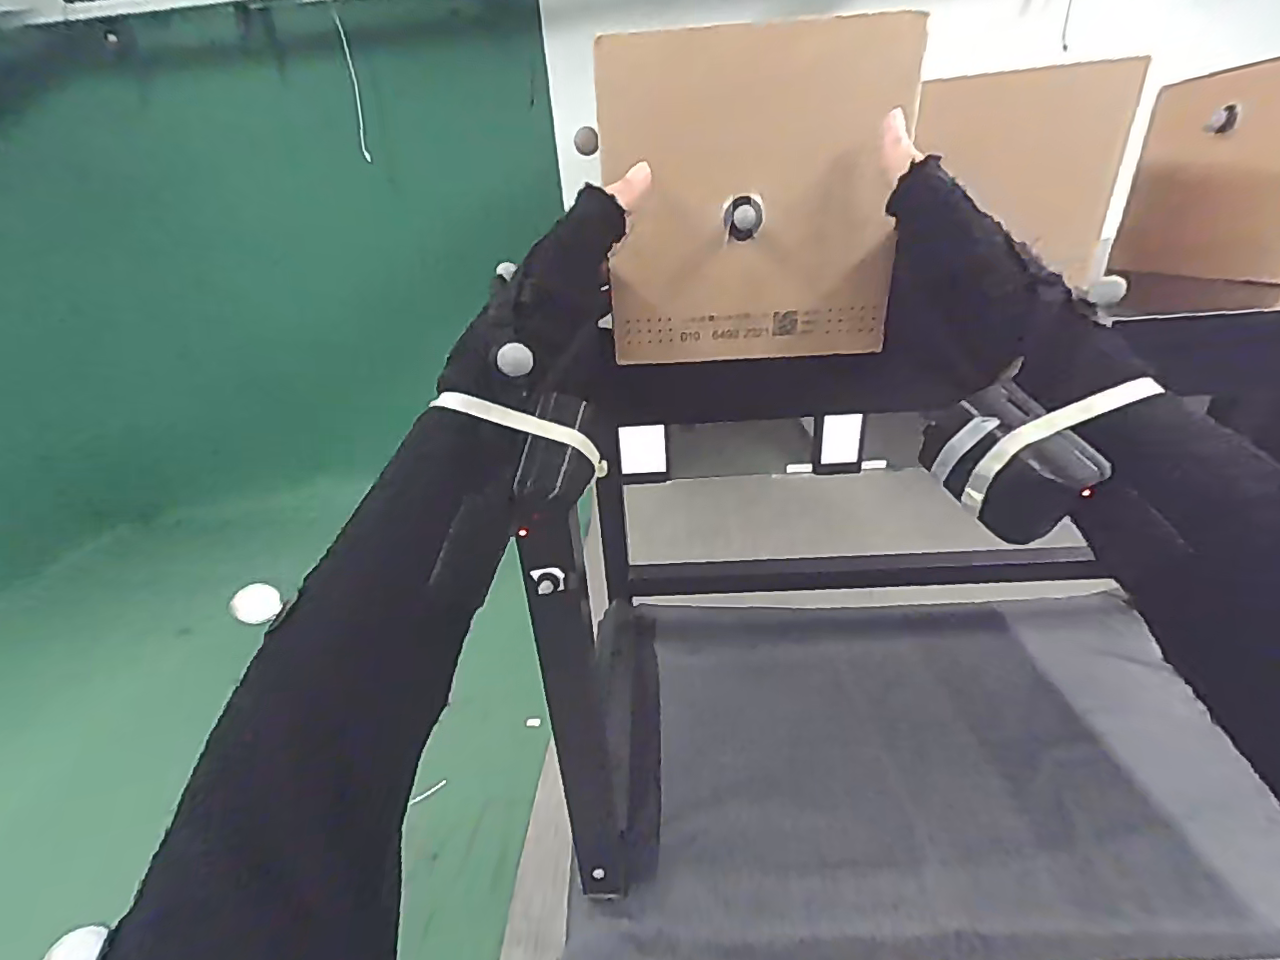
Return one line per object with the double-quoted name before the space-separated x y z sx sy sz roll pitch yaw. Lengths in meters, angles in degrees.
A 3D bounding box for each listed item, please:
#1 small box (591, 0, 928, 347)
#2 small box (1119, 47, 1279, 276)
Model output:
"small box" 0.064 -0.189 0.368 0.168 0.176 0.179 -2 27 2
"small box" 0.583 -0.273 0.467 0.168 0.176 0.179 -5 25 -1
